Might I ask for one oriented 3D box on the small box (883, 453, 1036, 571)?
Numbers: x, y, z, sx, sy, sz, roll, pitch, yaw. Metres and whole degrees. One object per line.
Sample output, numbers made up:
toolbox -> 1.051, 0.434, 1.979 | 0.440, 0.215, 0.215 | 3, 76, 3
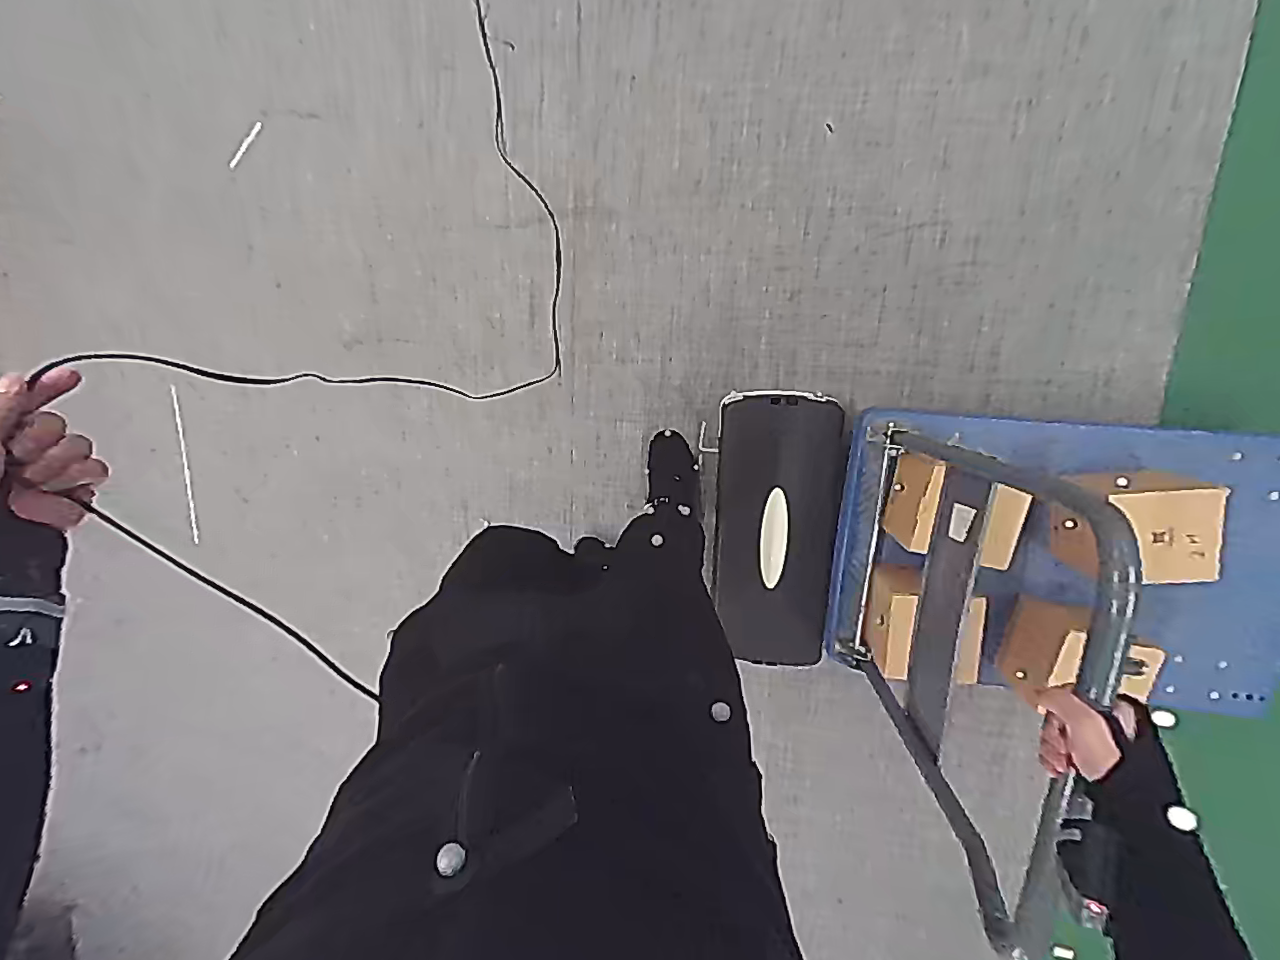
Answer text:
small box -> 0.593, 0.052, 1.029 | 0.179, 0.176, 0.168 | 11, 103, 6

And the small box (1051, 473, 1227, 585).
small box -> 0.893, 0.084, 0.989 | 0.179, 0.176, 0.168 | -4, 101, 9

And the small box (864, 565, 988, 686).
small box -> 0.556, 0.280, 1.076 | 0.168, 0.176, 0.179 | 2, 103, 8
